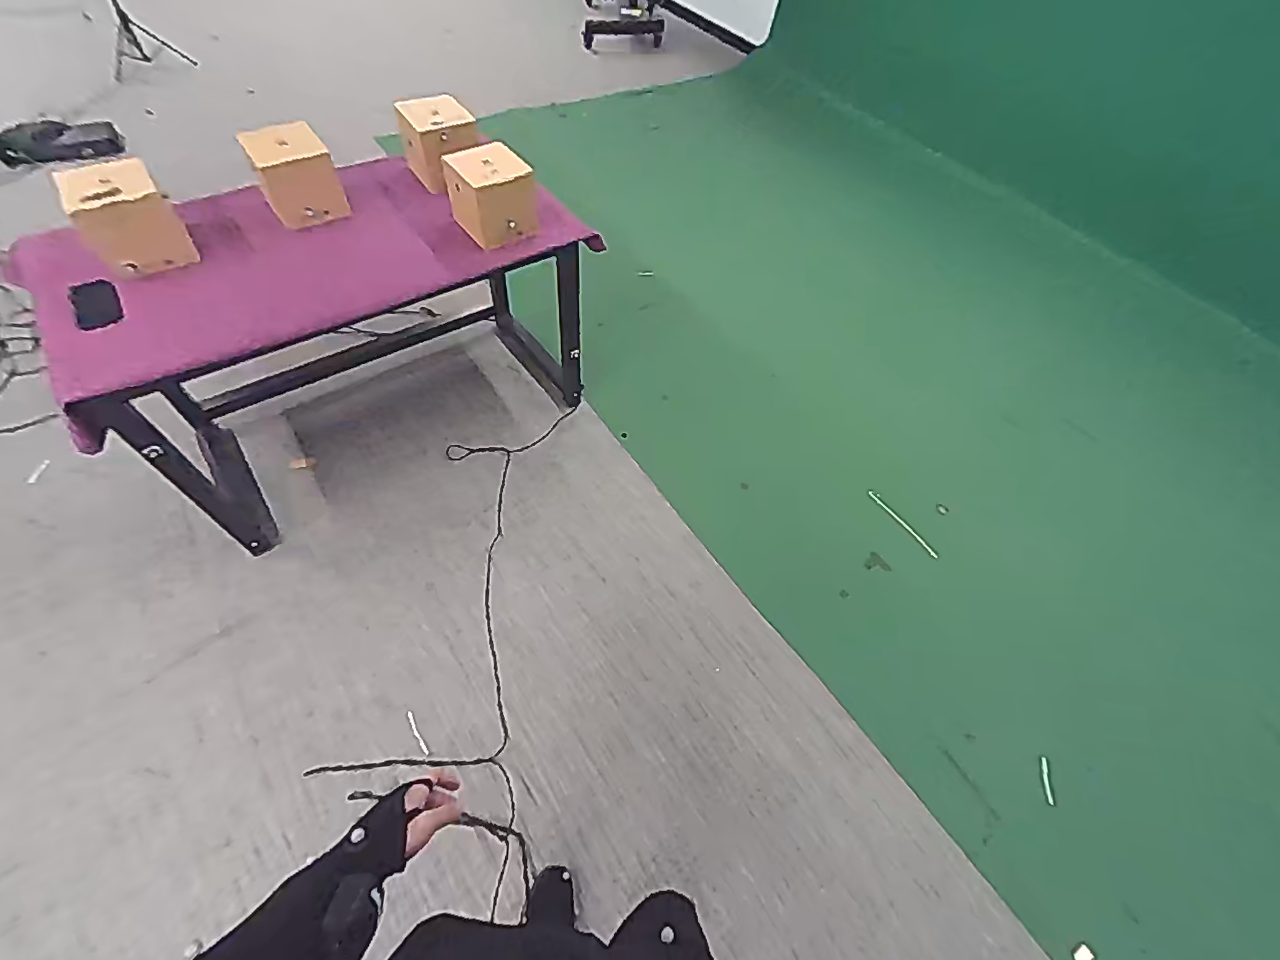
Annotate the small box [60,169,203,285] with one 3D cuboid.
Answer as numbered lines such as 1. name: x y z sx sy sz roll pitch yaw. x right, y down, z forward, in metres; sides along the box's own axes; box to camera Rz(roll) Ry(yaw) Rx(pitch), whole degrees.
1. small box: -1.155 -0.571 1.240 0.168 0.176 0.179 -30 63 -23

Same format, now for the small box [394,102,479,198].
1. small box: -0.568 -0.937 1.541 0.168 0.176 0.179 -29 63 -21

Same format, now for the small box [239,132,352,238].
1. small box: -0.880 -0.758 1.393 0.168 0.176 0.179 -31 64 -22

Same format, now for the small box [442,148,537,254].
1. small box: -0.386 -0.725 1.408 0.168 0.176 0.179 -31 64 -22
